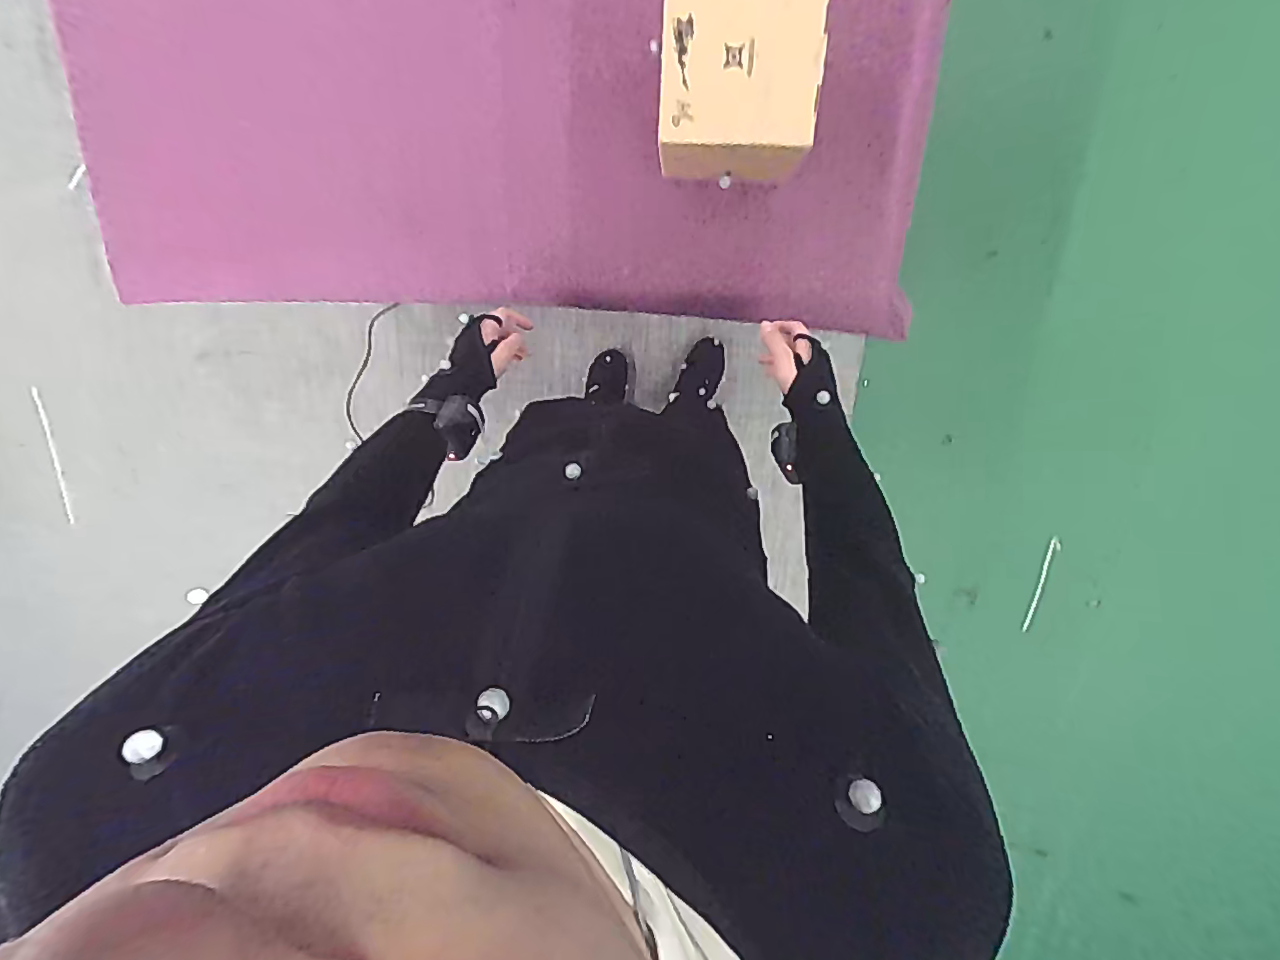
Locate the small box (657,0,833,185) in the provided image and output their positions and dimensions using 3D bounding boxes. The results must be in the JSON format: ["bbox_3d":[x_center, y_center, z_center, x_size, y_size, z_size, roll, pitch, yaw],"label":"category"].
[{"bbox_3d":[0.114,-0.471,0.660,0.179,0.176,0.168,4,108,2],"label":"small box"}]
